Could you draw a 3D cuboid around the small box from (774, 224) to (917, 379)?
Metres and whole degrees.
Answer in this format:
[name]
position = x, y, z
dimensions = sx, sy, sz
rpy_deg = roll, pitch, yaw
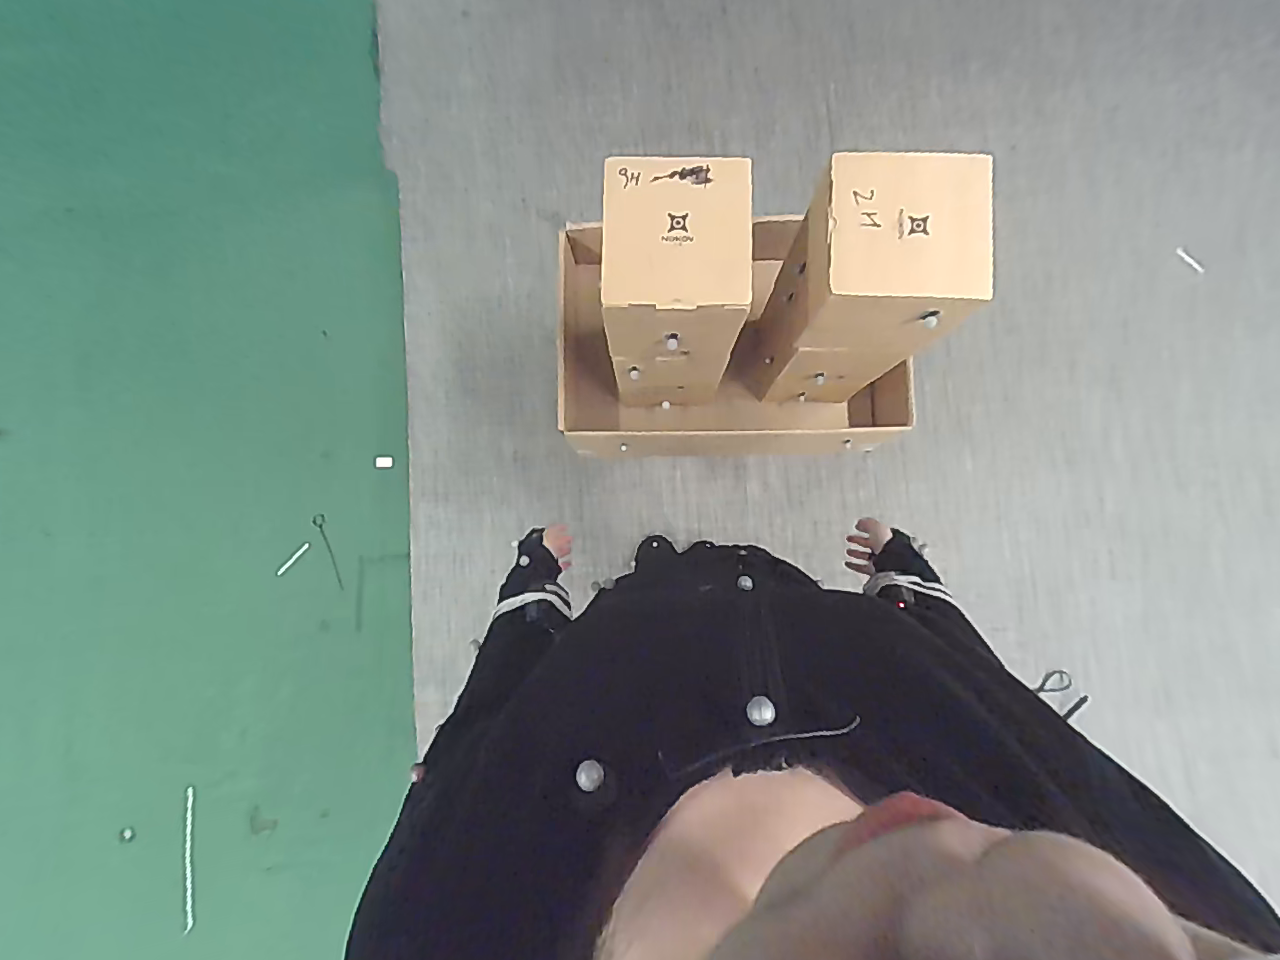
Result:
[small box]
position = 0.302, -0.264, 0.826
dimensions = 0.168, 0.176, 0.179
rpy_deg = 1, 86, 4
